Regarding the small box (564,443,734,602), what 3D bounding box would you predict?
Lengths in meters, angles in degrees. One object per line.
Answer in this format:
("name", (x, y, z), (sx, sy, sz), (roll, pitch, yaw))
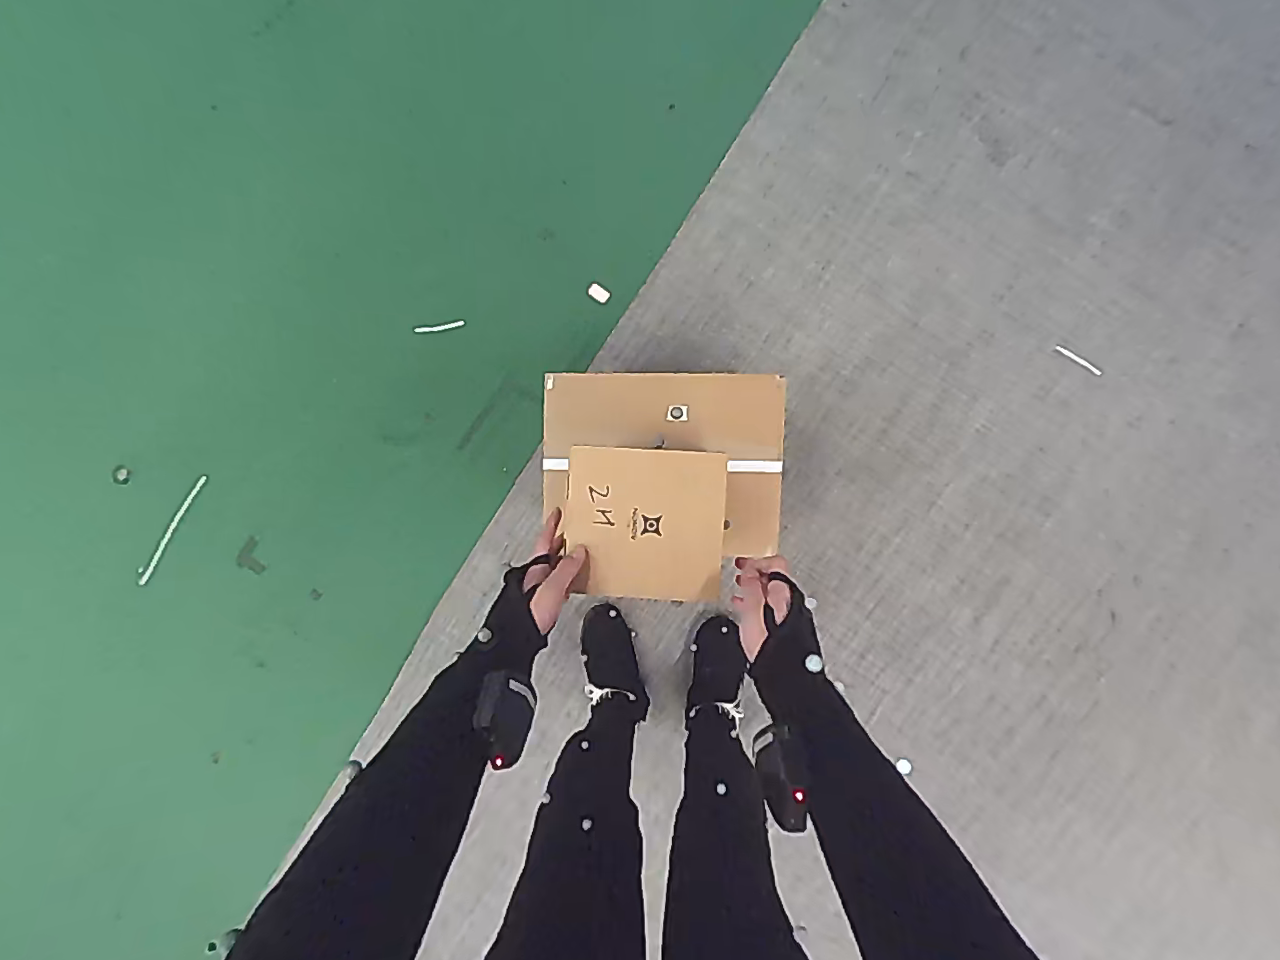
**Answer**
("small box", (0.013, 0.041, 0.660), (0.179, 0.176, 0.168), (3, 93, 4))
